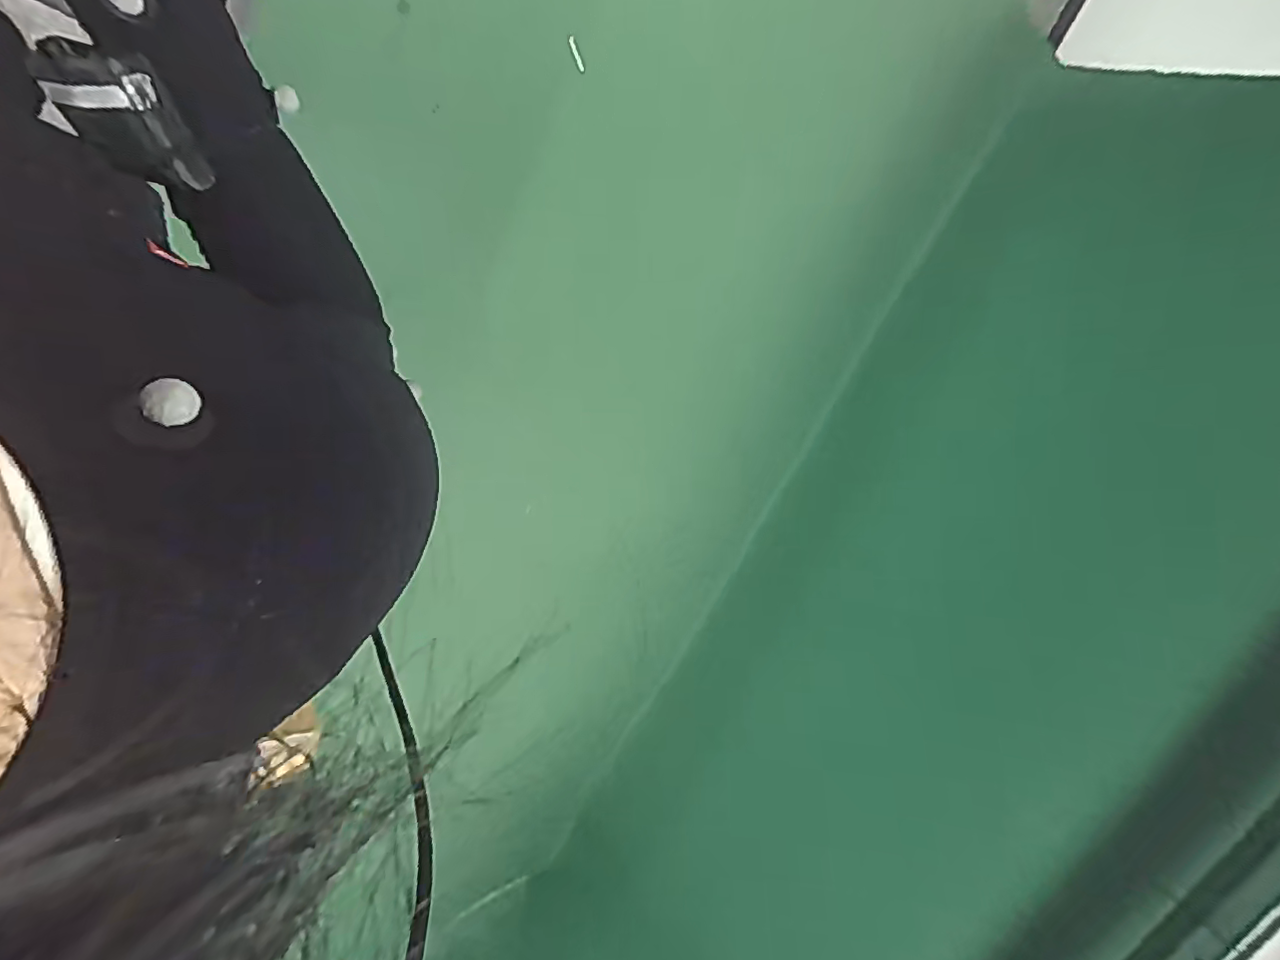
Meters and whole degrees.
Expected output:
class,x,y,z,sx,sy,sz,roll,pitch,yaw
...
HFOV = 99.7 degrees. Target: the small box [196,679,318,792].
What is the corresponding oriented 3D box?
class,x,y,z,sx,sy,sz,roll,pitch,yaw
small box,-0.921,0.599,1.298,0.179,0.176,0.168,19,106,-54
